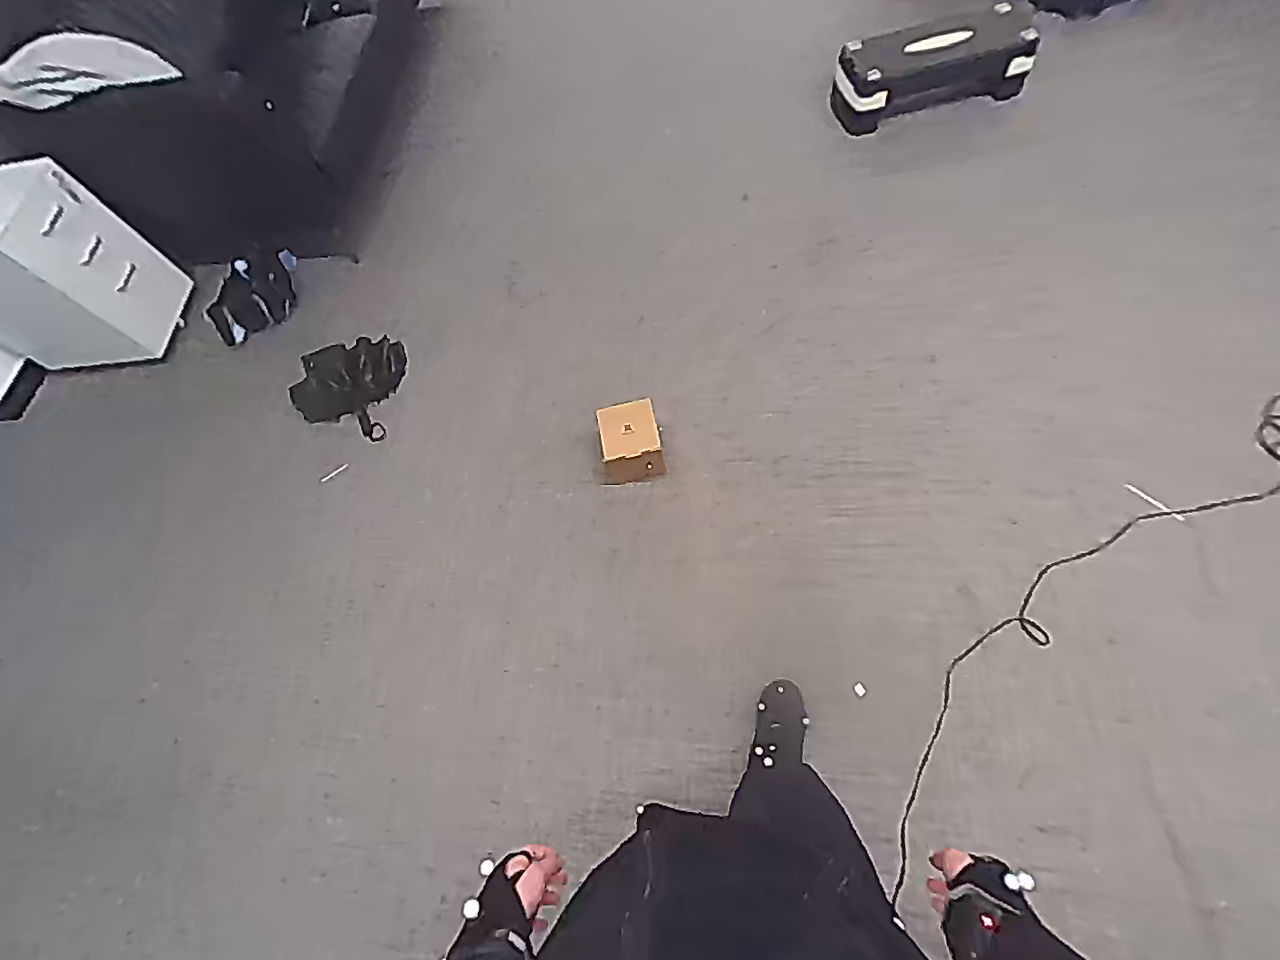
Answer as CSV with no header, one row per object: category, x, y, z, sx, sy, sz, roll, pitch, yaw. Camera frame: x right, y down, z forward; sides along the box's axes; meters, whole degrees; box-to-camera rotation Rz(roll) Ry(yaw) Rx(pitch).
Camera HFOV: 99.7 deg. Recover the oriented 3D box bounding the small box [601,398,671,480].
small box,-0.009,-0.115,1.618,0.168,0.176,0.179,-14,63,3
